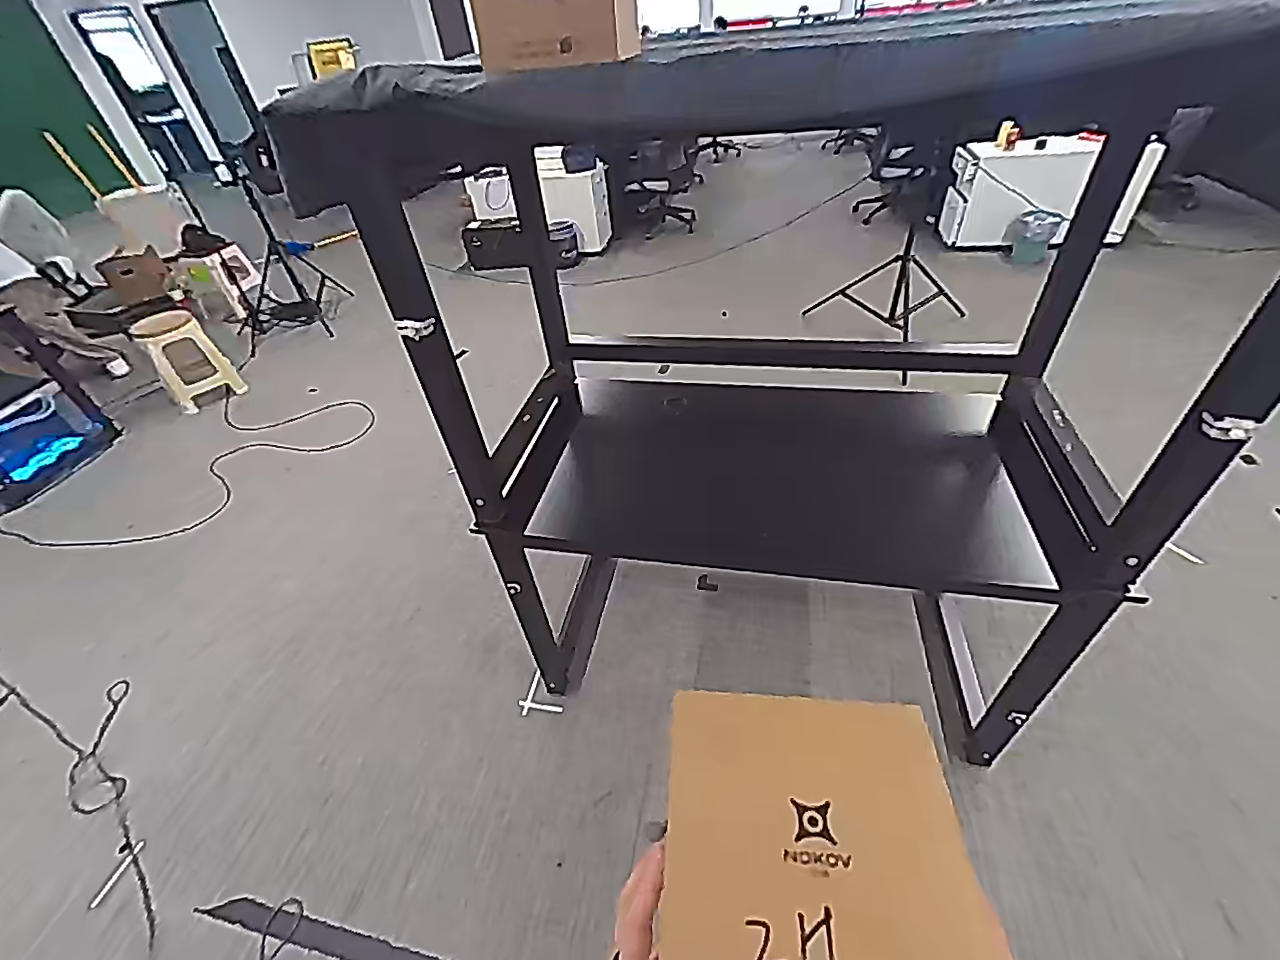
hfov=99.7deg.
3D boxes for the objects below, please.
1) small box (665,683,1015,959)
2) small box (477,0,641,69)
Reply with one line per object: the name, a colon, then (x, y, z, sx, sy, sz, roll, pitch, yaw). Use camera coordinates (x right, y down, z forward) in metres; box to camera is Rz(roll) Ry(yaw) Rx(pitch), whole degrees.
small box: (0.104, 0.259, 0.347, 0.168, 0.176, 0.179, 1, 37, 7)
small box: (-0.093, -0.593, 0.633, 0.168, 0.176, 0.179, 2, 41, 8)
